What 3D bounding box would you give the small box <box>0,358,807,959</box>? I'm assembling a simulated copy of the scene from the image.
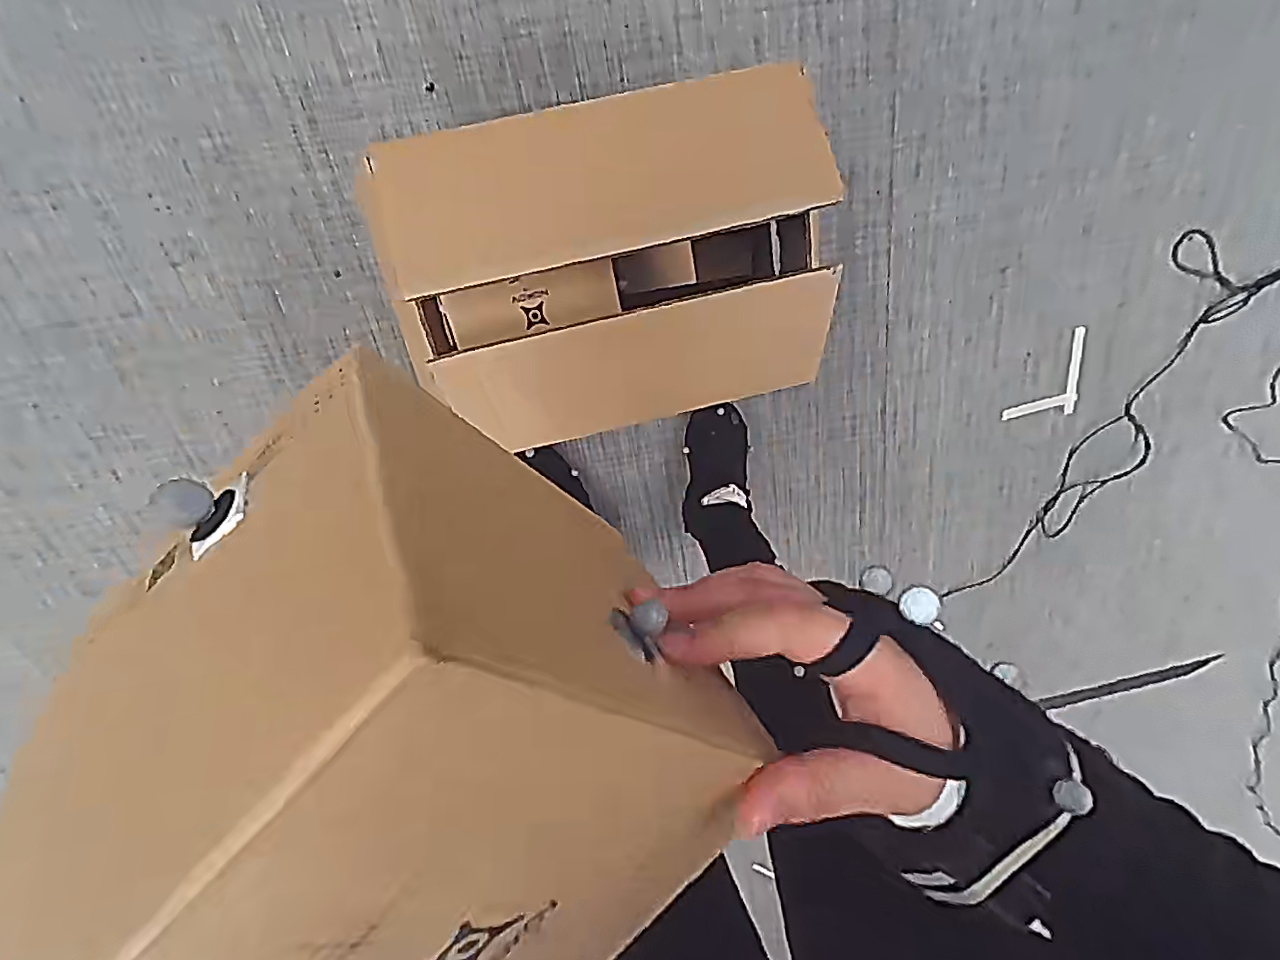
[{"bbox_3d":[-0.079,0.084,0.201,0.168,0.176,0.179,-47,132,3],"label":"small box"}]
